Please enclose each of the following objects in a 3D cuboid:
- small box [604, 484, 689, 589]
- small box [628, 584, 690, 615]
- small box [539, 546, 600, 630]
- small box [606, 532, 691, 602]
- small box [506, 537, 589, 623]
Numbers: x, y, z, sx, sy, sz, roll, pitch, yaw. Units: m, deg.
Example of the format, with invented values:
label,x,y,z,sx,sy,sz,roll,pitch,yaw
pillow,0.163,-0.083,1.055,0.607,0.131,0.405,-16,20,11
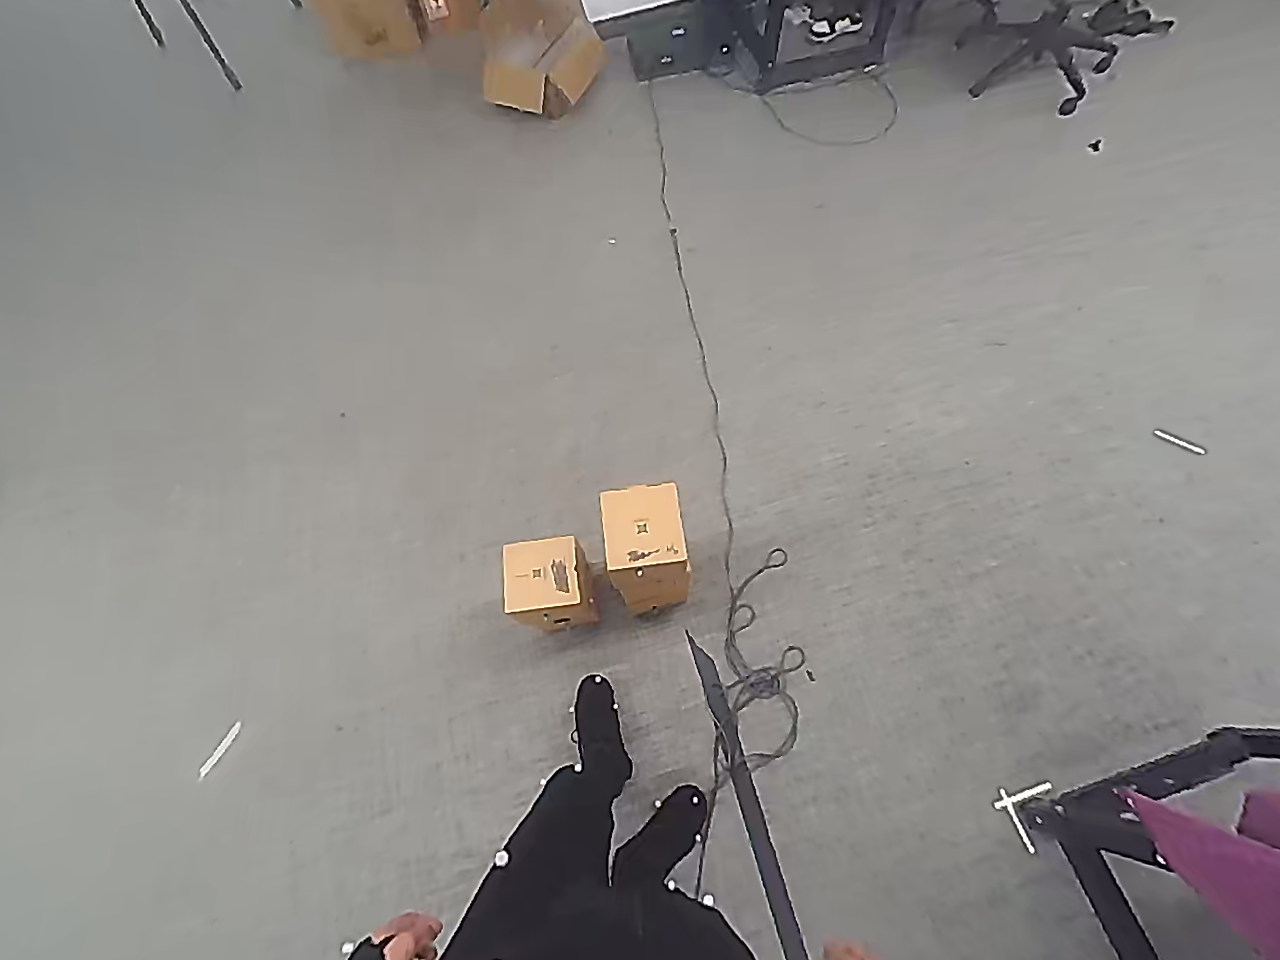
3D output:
label,x,y,z,sx,sy,sz,roll,pitch,yaw
small box,0.014,0.129,1.194,0.168,0.176,0.179,-7,65,1
small box,0.033,0.258,1.493,0.168,0.176,0.179,-15,67,-3
small box,-0.210,0.301,1.485,0.168,0.176,0.179,-11,66,-1
small box,0.025,0.193,1.345,0.179,0.176,0.168,-14,66,-2
small box,-0.221,0.250,1.329,0.179,0.176,0.168,-8,66,1
